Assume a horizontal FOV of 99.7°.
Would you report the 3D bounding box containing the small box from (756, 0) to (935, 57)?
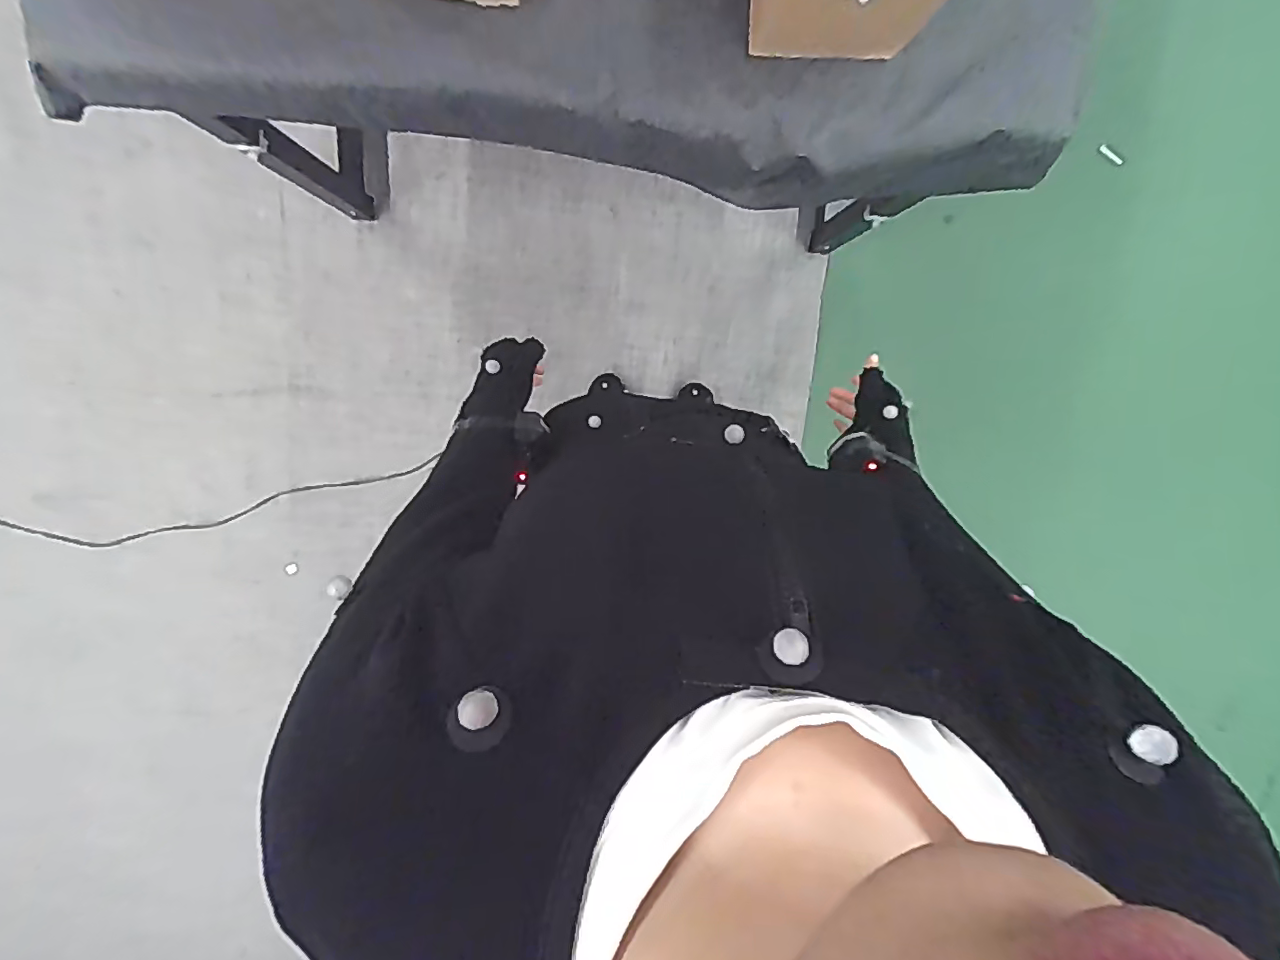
[{"bbox_3d":[0.224,-0.569,0.551,0.179,0.176,0.168,-1,103,-4],"label":"small box"}]
